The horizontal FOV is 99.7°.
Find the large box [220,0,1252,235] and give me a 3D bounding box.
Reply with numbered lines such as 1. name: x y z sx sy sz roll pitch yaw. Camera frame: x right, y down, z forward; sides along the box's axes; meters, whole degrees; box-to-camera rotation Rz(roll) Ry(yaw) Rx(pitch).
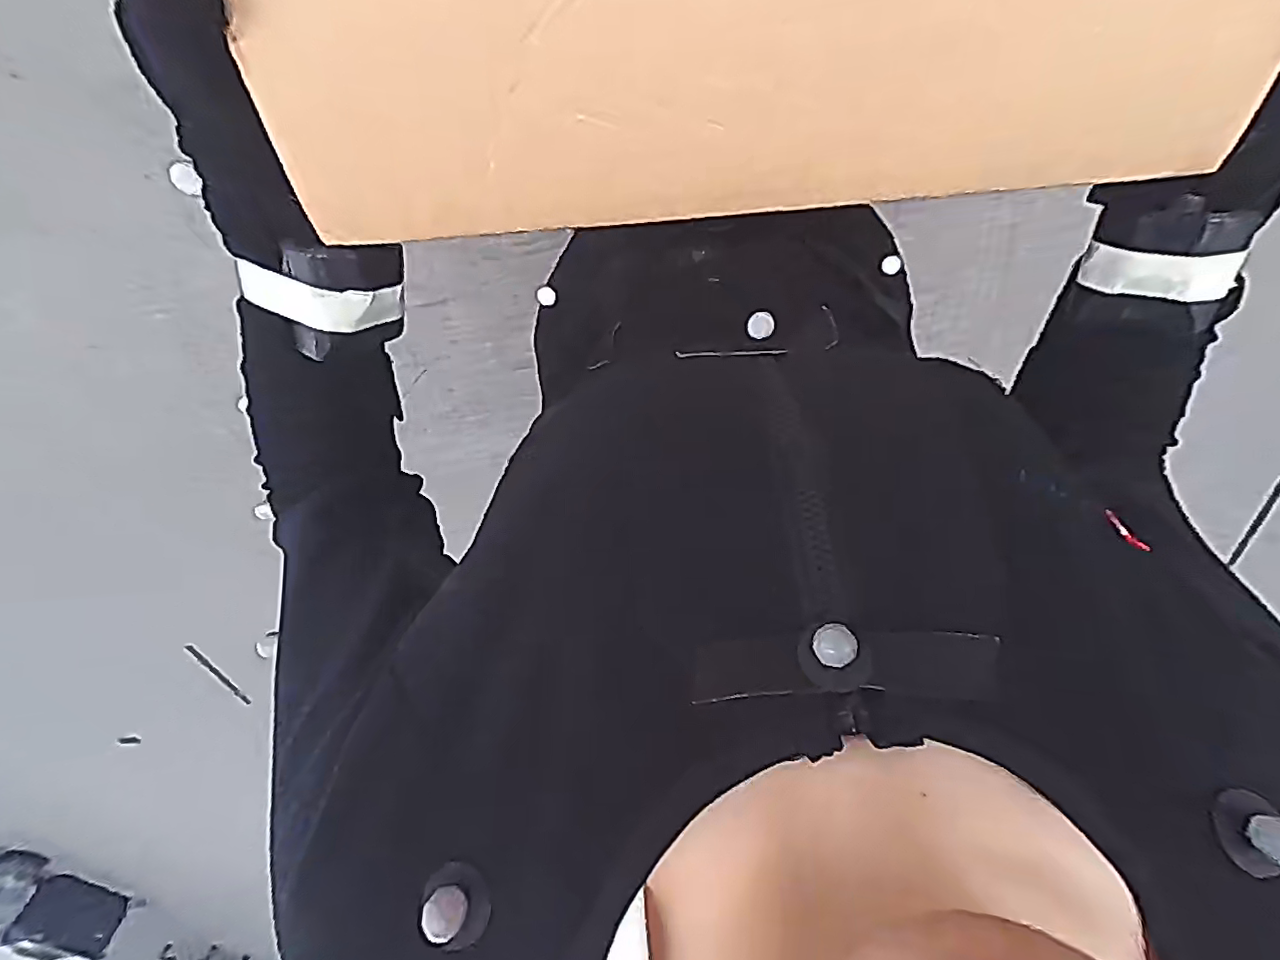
1. large box: 0.033 -0.346 0.254 0.408 0.320 0.320 -4 134 1
